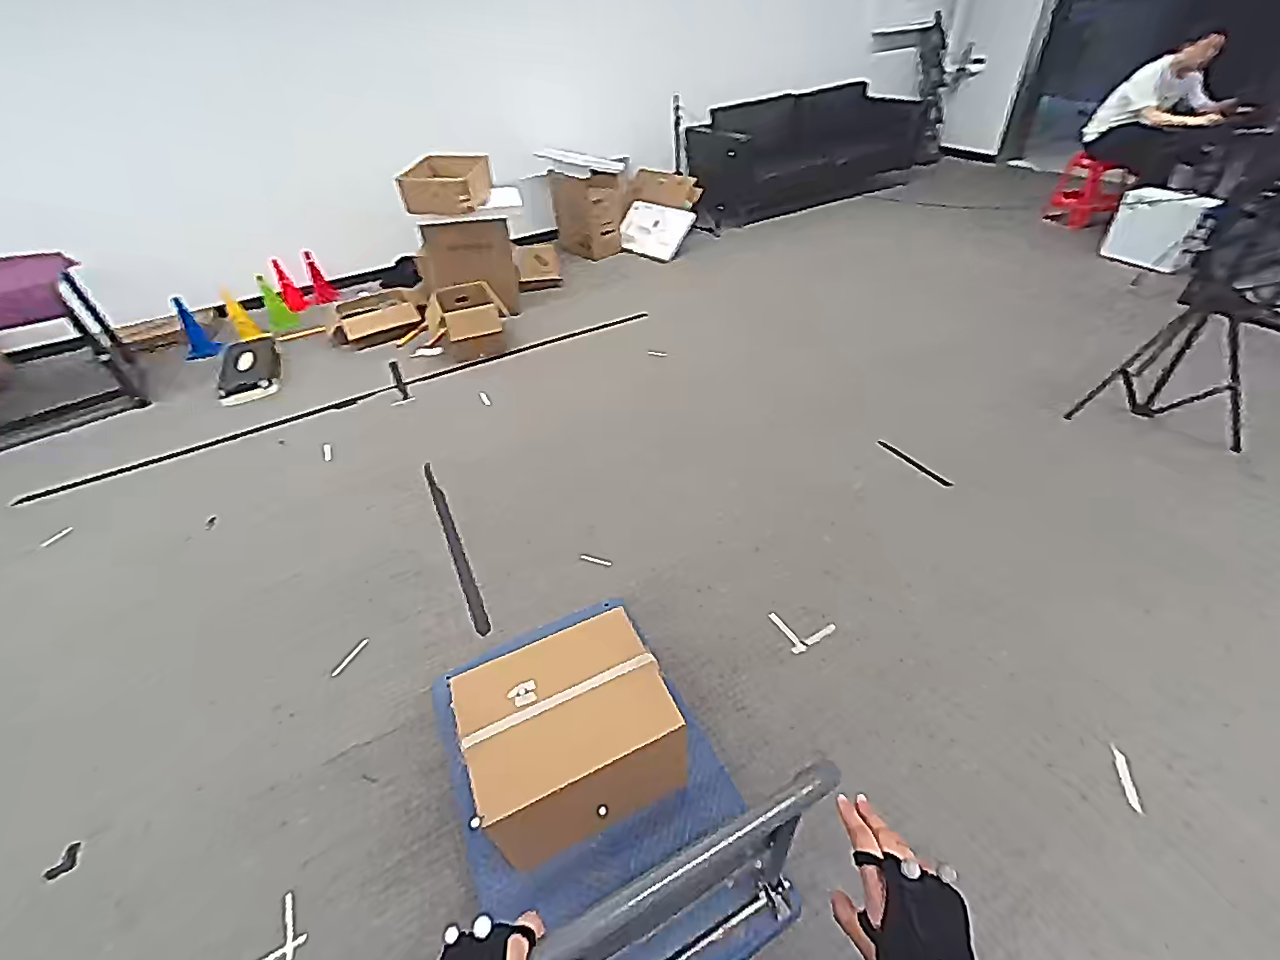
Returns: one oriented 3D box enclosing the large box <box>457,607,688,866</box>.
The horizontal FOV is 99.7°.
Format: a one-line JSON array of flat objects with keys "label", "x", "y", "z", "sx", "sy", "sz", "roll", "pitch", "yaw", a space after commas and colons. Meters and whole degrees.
[{"label": "large box", "x": -0.139, "y": 0.560, "z": 1.205, "sx": 0.408, "sy": 0.320, "sz": 0.320, "roll": -21, "pitch": 42, "yaw": -16}]
